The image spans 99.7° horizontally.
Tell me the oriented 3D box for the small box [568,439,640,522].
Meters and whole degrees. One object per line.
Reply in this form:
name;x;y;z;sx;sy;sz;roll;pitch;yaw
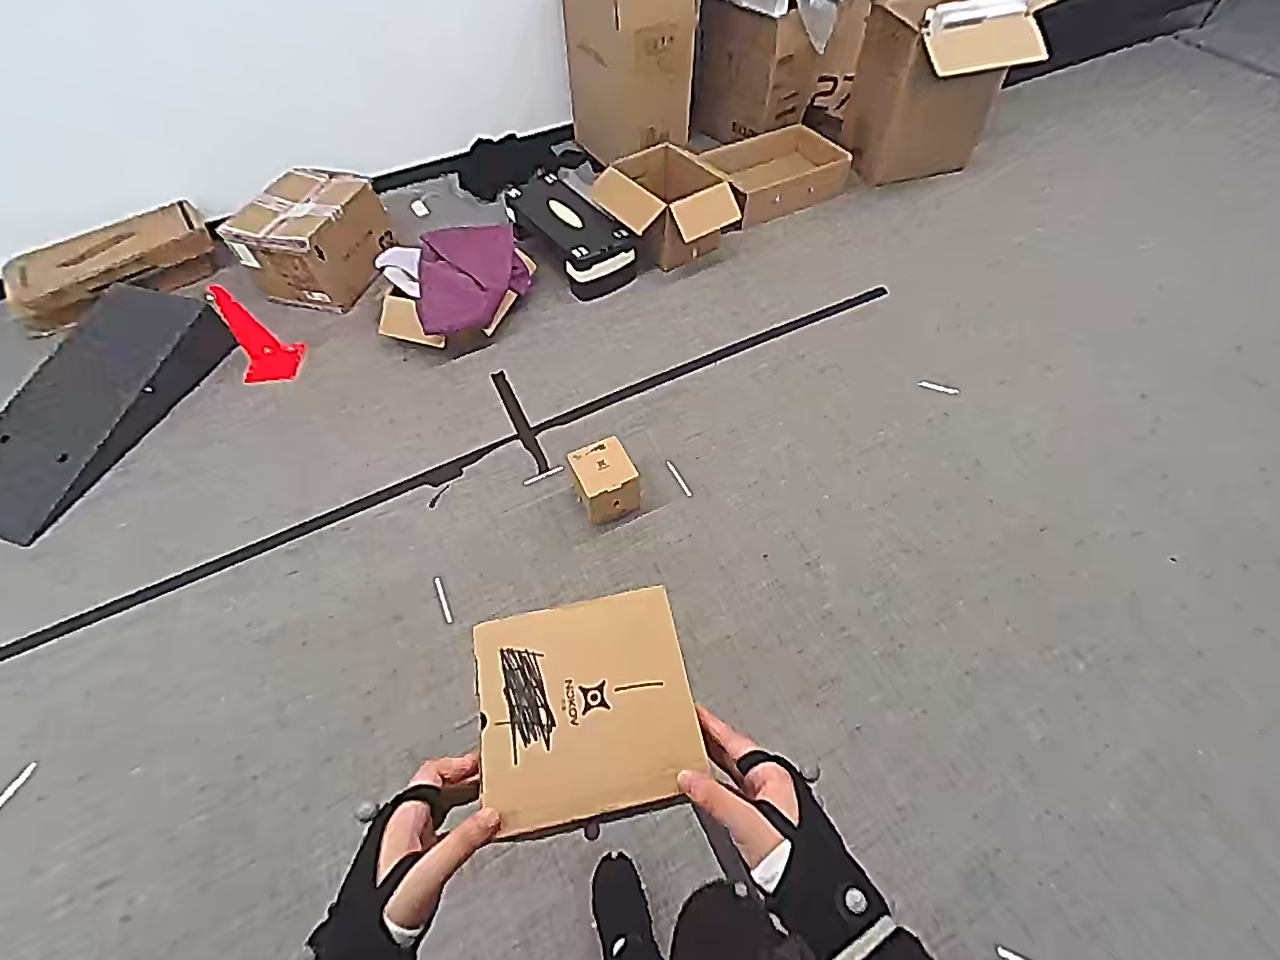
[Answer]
small box;-0.105;0.010;1.663;0.168;0.176;0.179;-23;59;-12

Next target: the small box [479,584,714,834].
small box;-0.039;0.220;0.507;0.179;0.176;0.168;-11;57;-5
